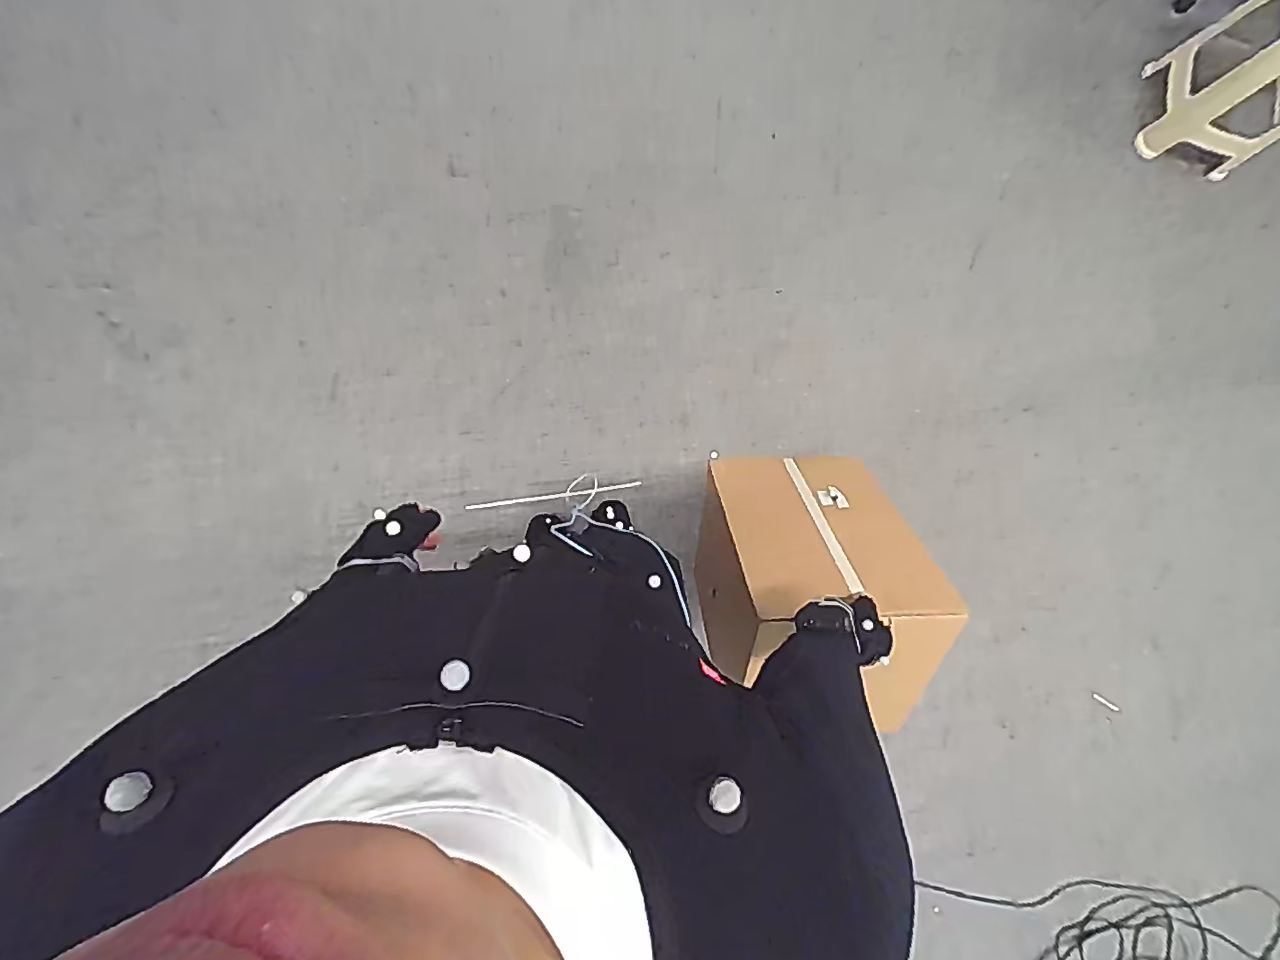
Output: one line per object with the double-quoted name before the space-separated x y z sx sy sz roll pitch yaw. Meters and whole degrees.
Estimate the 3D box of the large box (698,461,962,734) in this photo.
"large box" 0.303 0.203 1.021 0.320 0.408 0.320 0 125 -5
